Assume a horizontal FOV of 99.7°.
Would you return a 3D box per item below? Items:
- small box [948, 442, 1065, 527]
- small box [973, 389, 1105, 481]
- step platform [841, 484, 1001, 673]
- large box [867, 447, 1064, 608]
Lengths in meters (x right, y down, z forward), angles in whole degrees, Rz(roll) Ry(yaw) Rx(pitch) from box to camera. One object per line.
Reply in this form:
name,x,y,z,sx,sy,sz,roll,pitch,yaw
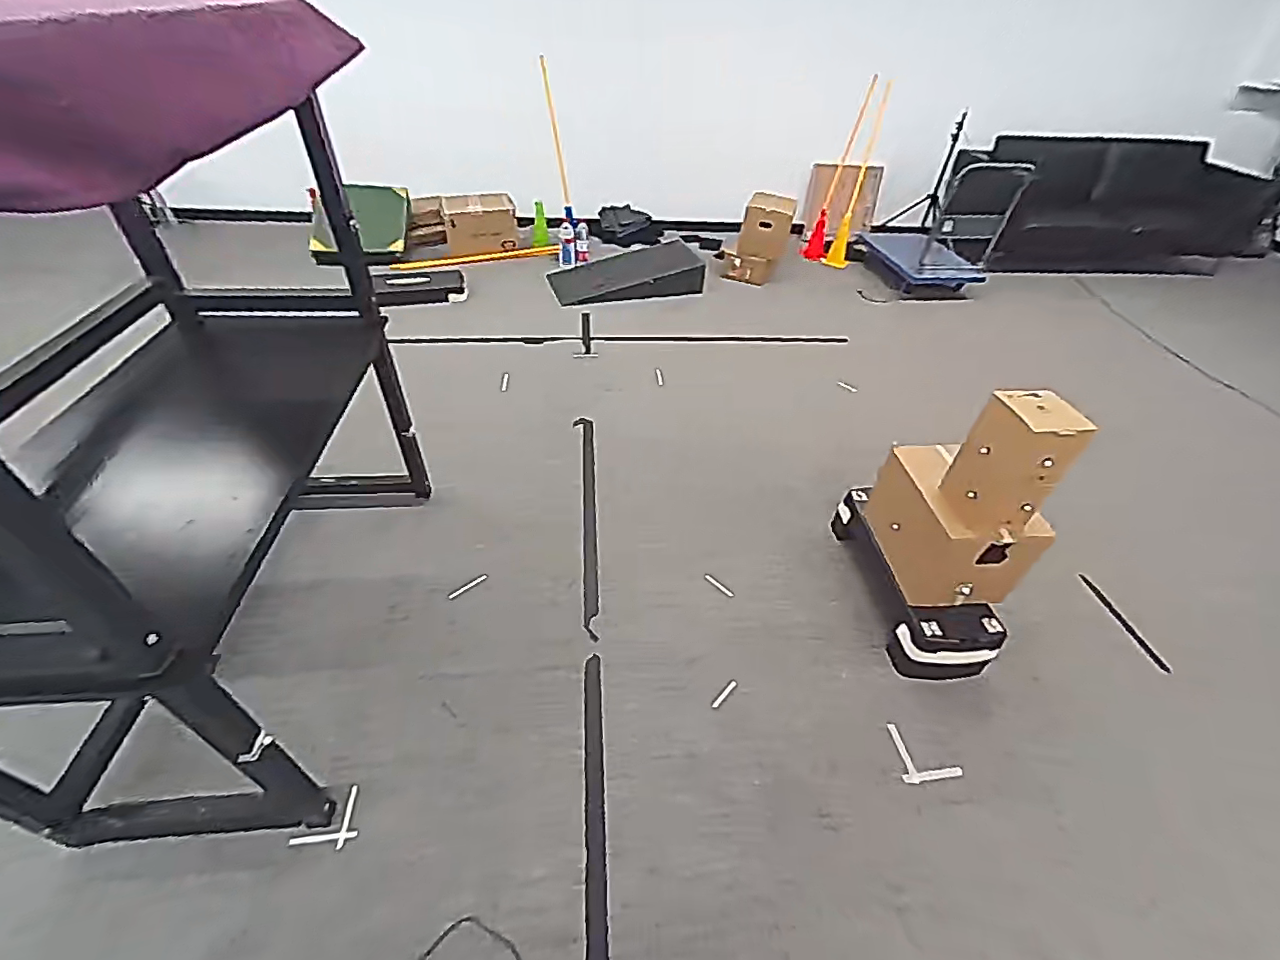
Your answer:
small box,0.978,0.014,1.462,0.168,0.176,0.179,0,41,-4
small box,0.987,-0.110,1.356,0.168,0.176,0.179,-1,43,-6
step platform,0.933,0.300,1.863,0.286,0.204,0.684,3,41,-1
large box,0.972,0.142,1.685,0.320,0.320,0.408,0,41,-5
